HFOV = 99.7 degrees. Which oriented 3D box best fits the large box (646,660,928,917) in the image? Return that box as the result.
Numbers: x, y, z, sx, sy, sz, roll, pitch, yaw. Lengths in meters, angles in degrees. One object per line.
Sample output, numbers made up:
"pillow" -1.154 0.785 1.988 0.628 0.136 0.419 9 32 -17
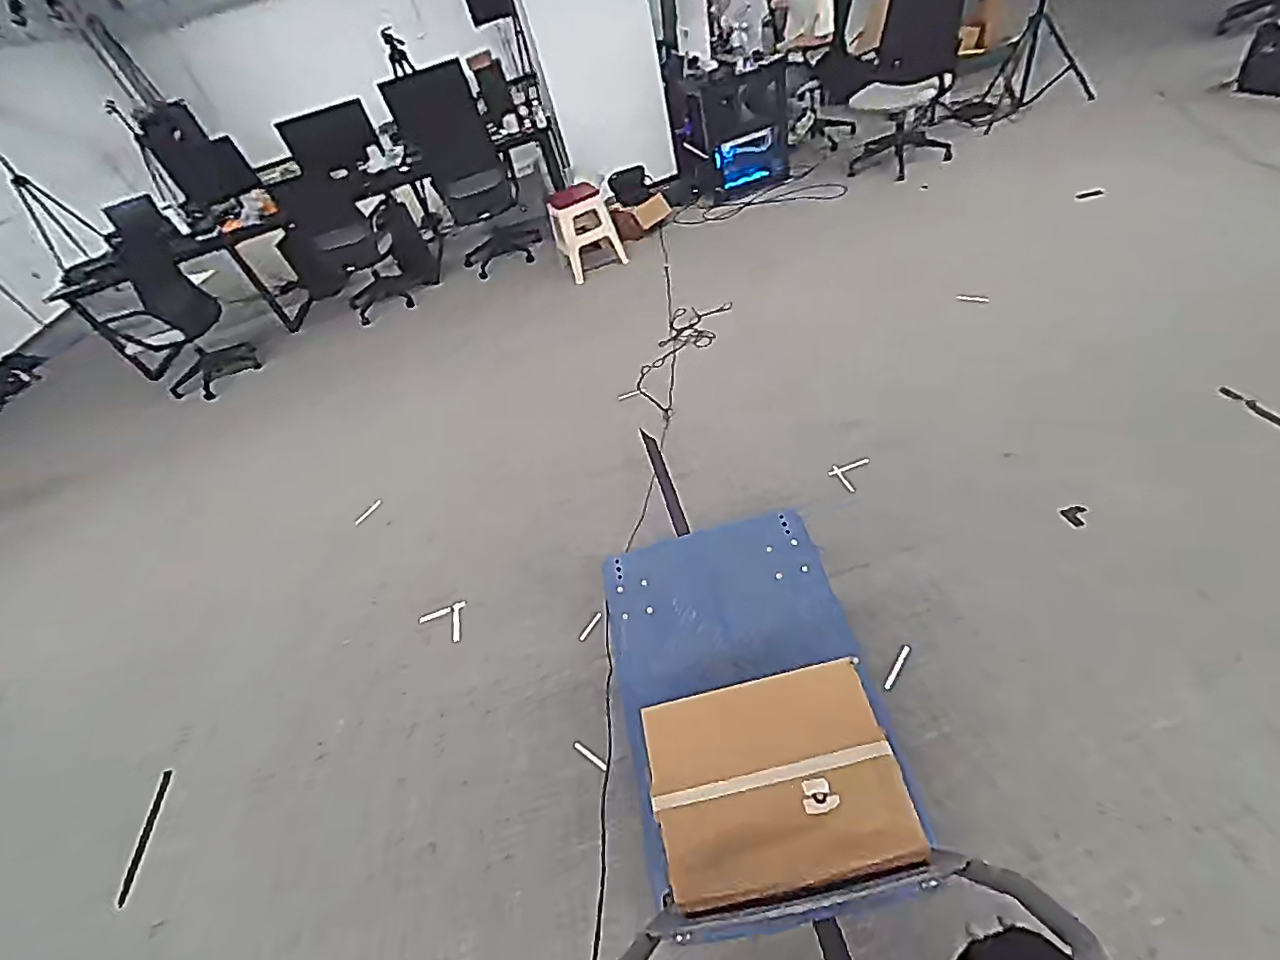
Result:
"large box" 0.258 0.596 1.050 0.408 0.320 0.320 -16 54 3
